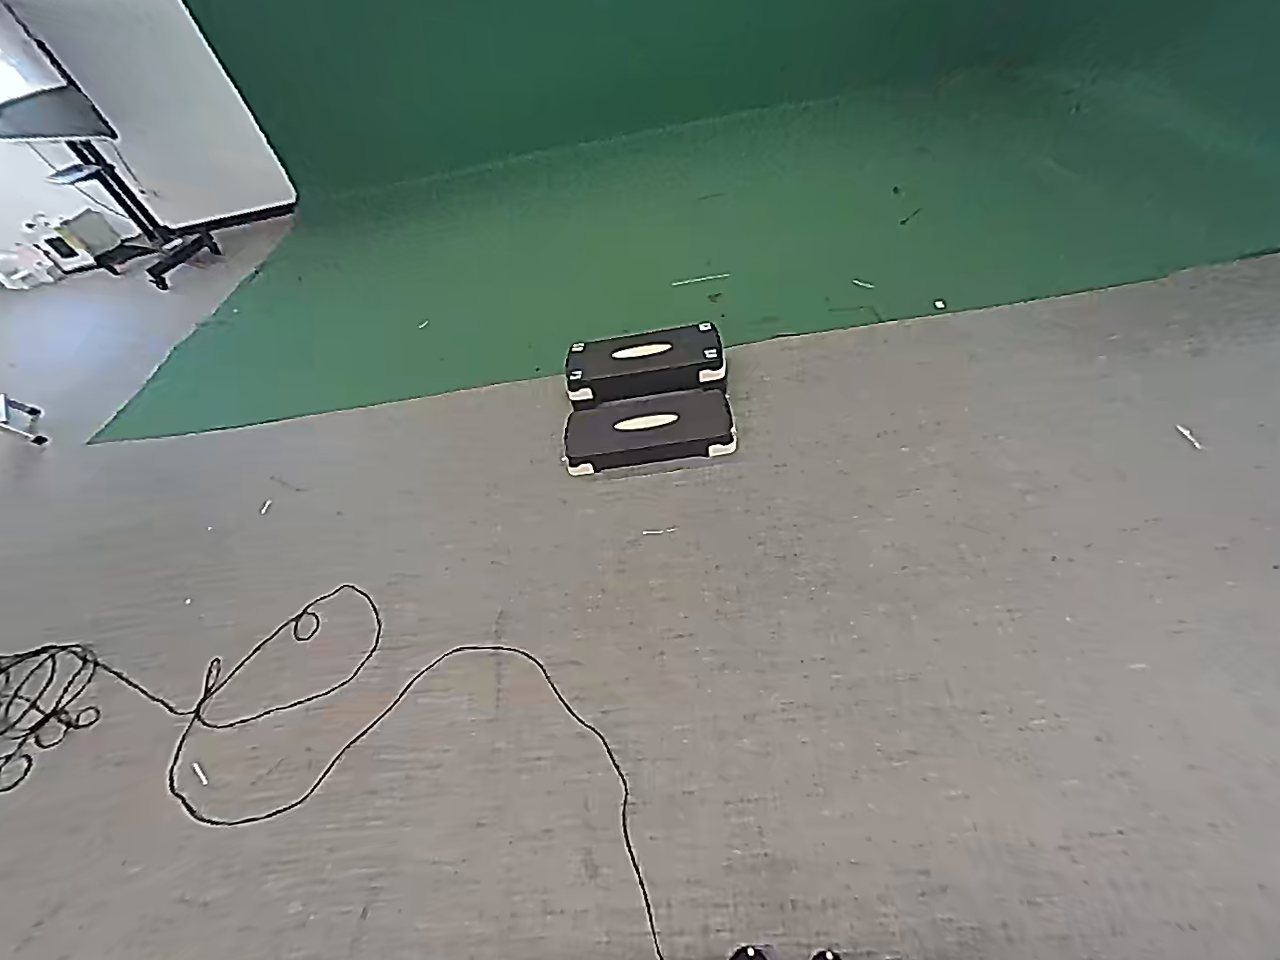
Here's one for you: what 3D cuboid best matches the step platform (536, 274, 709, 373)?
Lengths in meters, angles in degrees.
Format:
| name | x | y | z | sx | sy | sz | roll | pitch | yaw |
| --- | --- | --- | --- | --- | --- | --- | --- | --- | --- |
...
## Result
| name | x | y | z | sx | sy | sz | roll | pitch | yaw |
| --- | --- | --- | --- | --- | --- | --- | --- | --- | --- |
| step platform | -0.065 | -0.636 | 2.206 | 0.684 | 0.204 | 0.286 | -8 | 48 | 7 |
